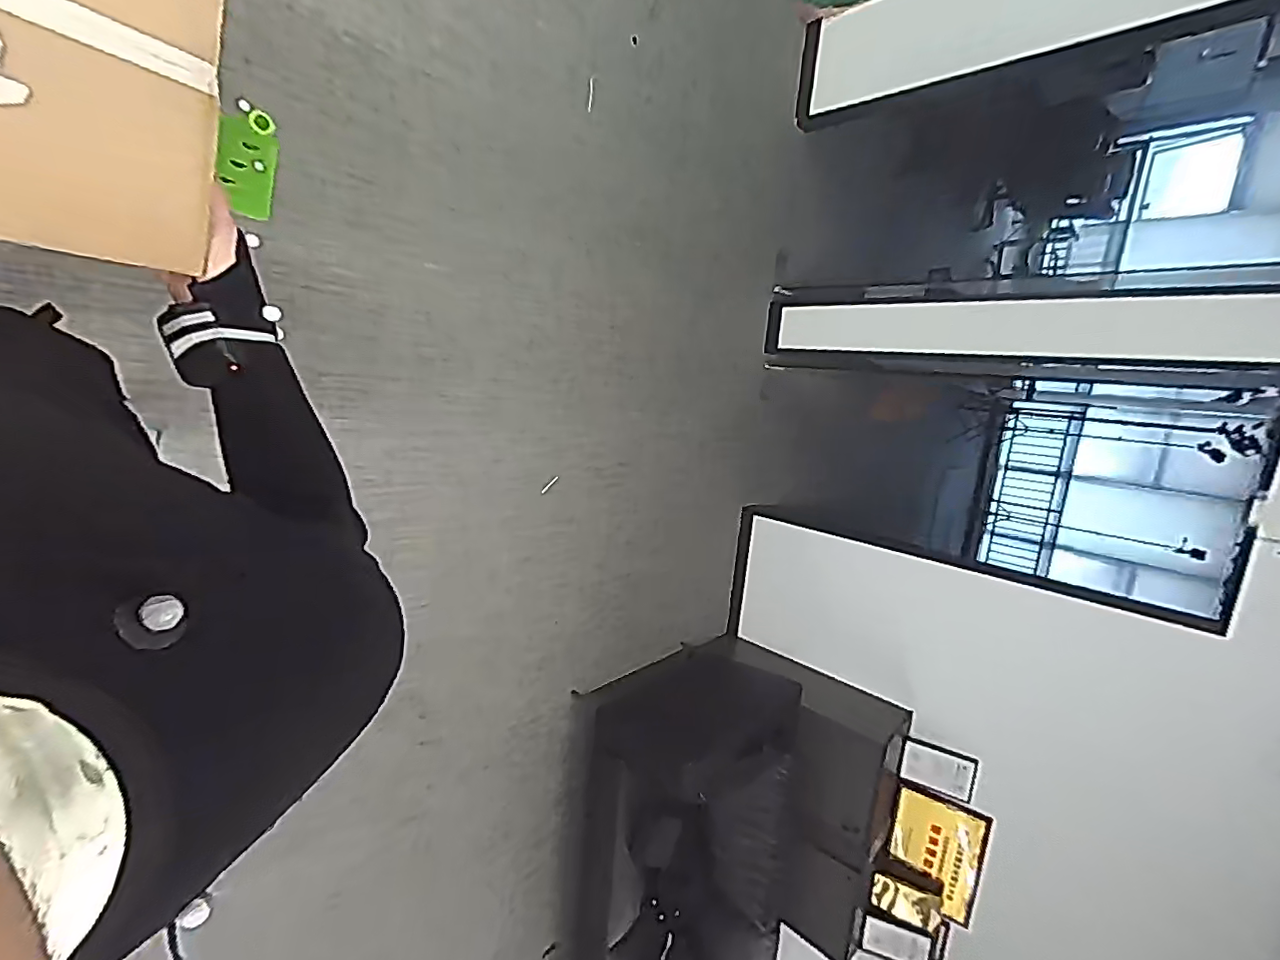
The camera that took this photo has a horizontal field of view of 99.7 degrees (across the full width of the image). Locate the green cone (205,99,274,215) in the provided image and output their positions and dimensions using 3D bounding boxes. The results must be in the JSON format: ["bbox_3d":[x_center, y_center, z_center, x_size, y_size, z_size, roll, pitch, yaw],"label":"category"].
[{"bbox_3d":[-0.831,-0.706,1.119,0.200,0.368,0.202,4,97,-49],"label":"green cone"}]

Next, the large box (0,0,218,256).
[{"bbox_3d":[-0.570,-0.379,0.340,0.408,0.320,0.320,-10,127,-56],"label":"large box"}]
